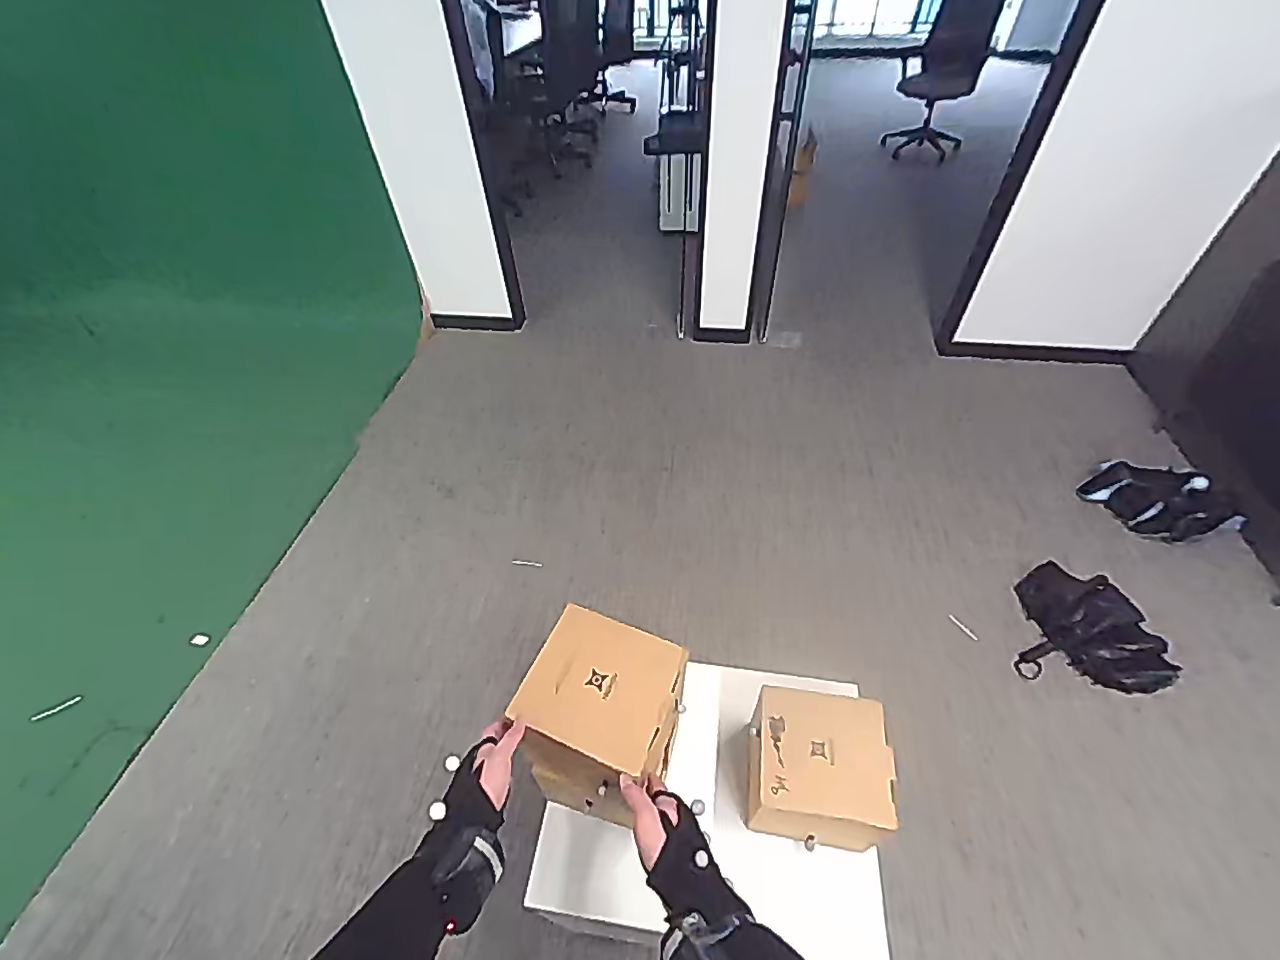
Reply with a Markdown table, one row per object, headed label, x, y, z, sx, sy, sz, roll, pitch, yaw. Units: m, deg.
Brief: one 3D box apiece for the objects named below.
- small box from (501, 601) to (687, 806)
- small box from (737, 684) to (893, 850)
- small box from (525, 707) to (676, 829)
| label | x | y | z | sx | sy | sz | roll | pitch | yaw |
| --- | --- | --- | --- | --- | --- | --- | --- | --- | --- |
| small box | -0.051 | 0.293 | 0.703 | 0.179 | 0.176 | 0.168 | 17 | 47 | 15 |
| small box | 0.248 | 0.429 | 0.802 | 0.179 | 0.176 | 0.168 | 8 | 47 | 6 |
| small box | -0.050 | 0.404 | 0.820 | 0.179 | 0.176 | 0.168 | 13 | 47 | 11 |
